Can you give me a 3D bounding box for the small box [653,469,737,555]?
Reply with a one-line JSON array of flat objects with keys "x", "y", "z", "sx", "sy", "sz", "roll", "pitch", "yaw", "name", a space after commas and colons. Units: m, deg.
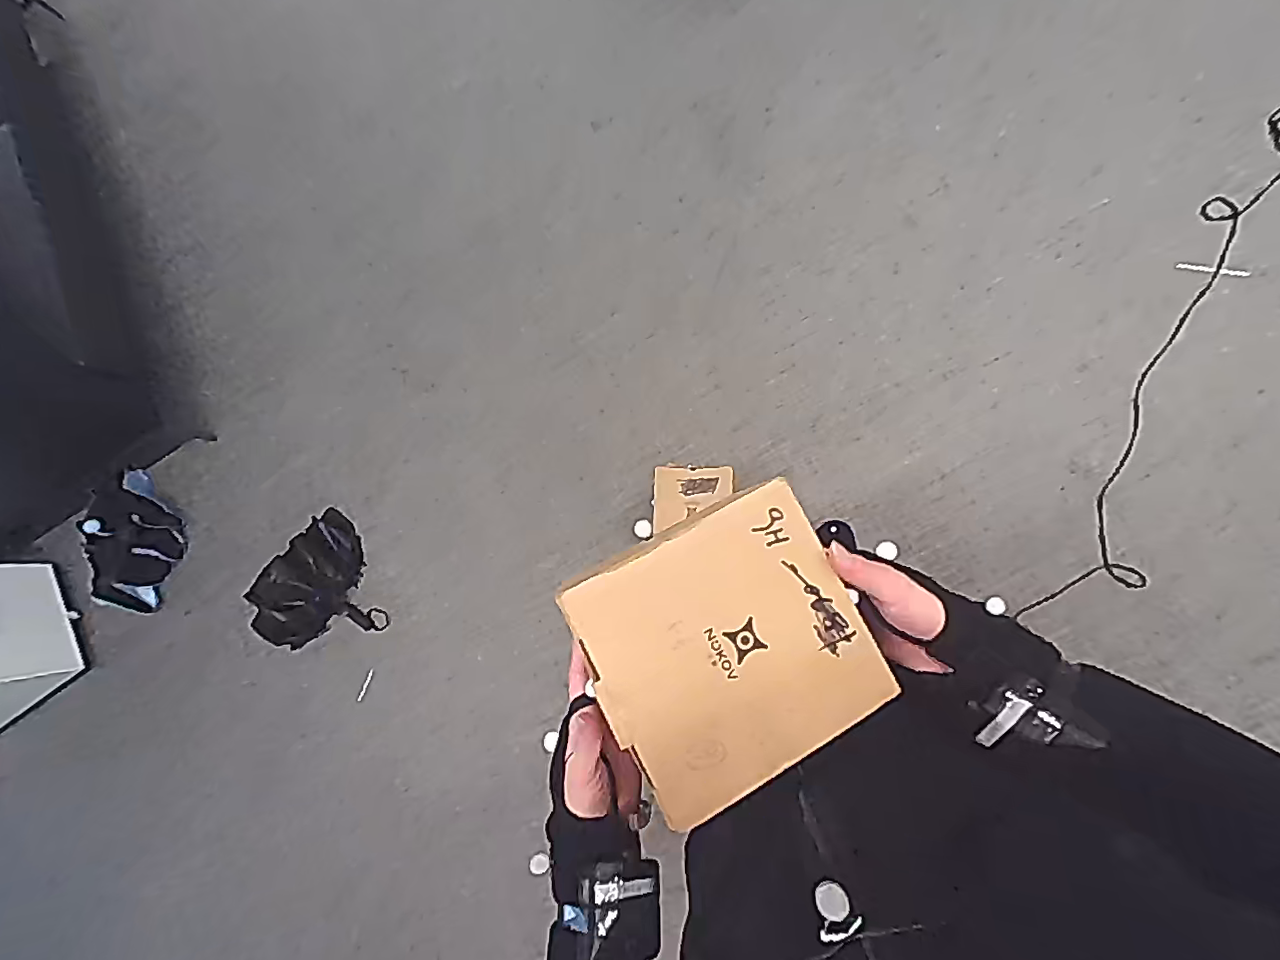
[{"x": 0.127, "y": 0.073, "z": 1.198, "sx": 0.168, "sy": 0.176, "sz": 0.179, "roll": 1, "pitch": 85, "yaw": 14, "name": "small box"}]
